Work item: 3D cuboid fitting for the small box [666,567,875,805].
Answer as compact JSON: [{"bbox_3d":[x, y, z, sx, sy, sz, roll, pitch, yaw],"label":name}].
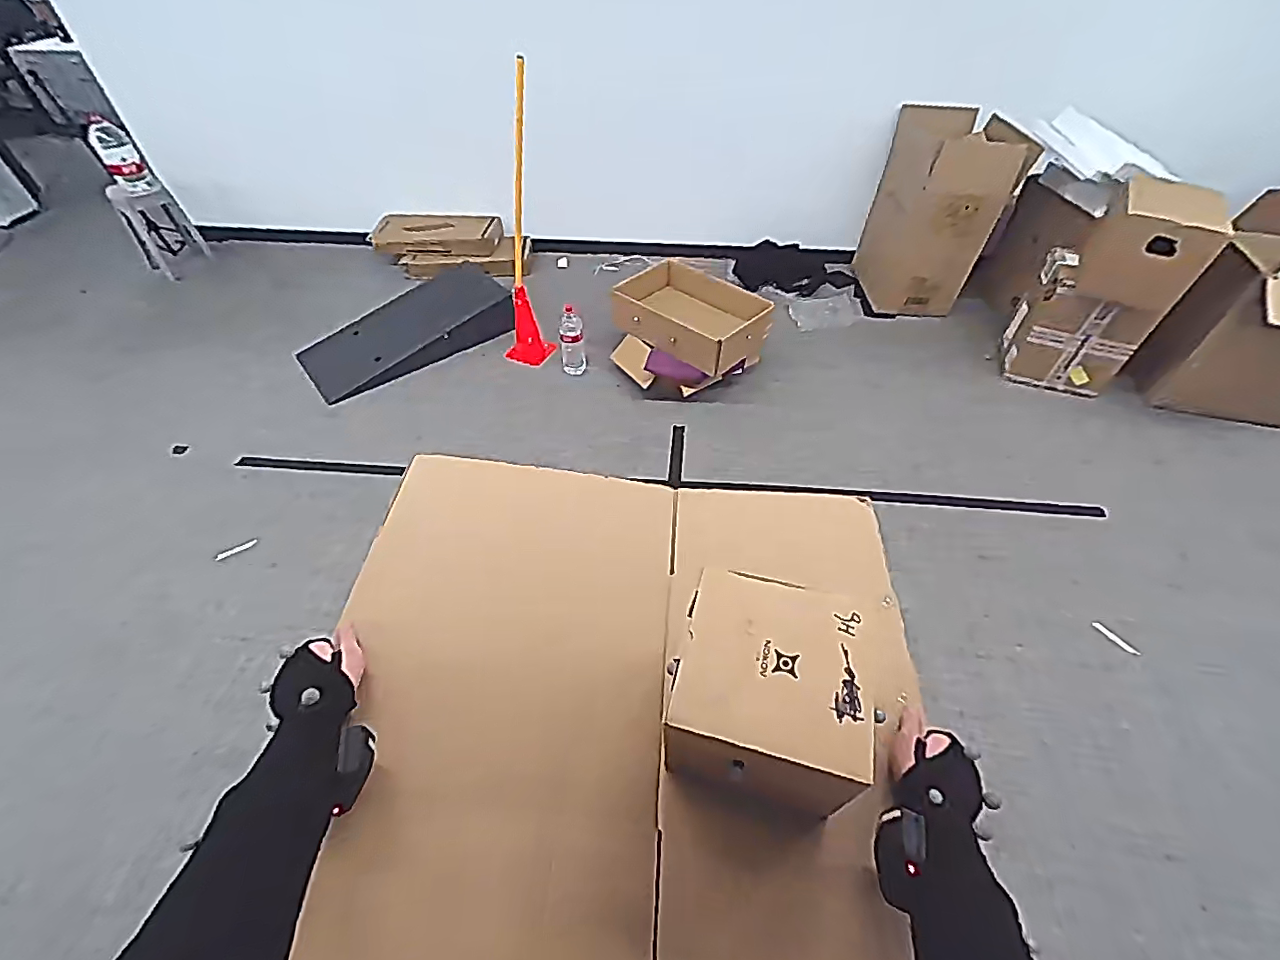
[{"bbox_3d":[0.133,0.219,0.568,0.179,0.176,0.168,10,52,13],"label":"small box"}]
